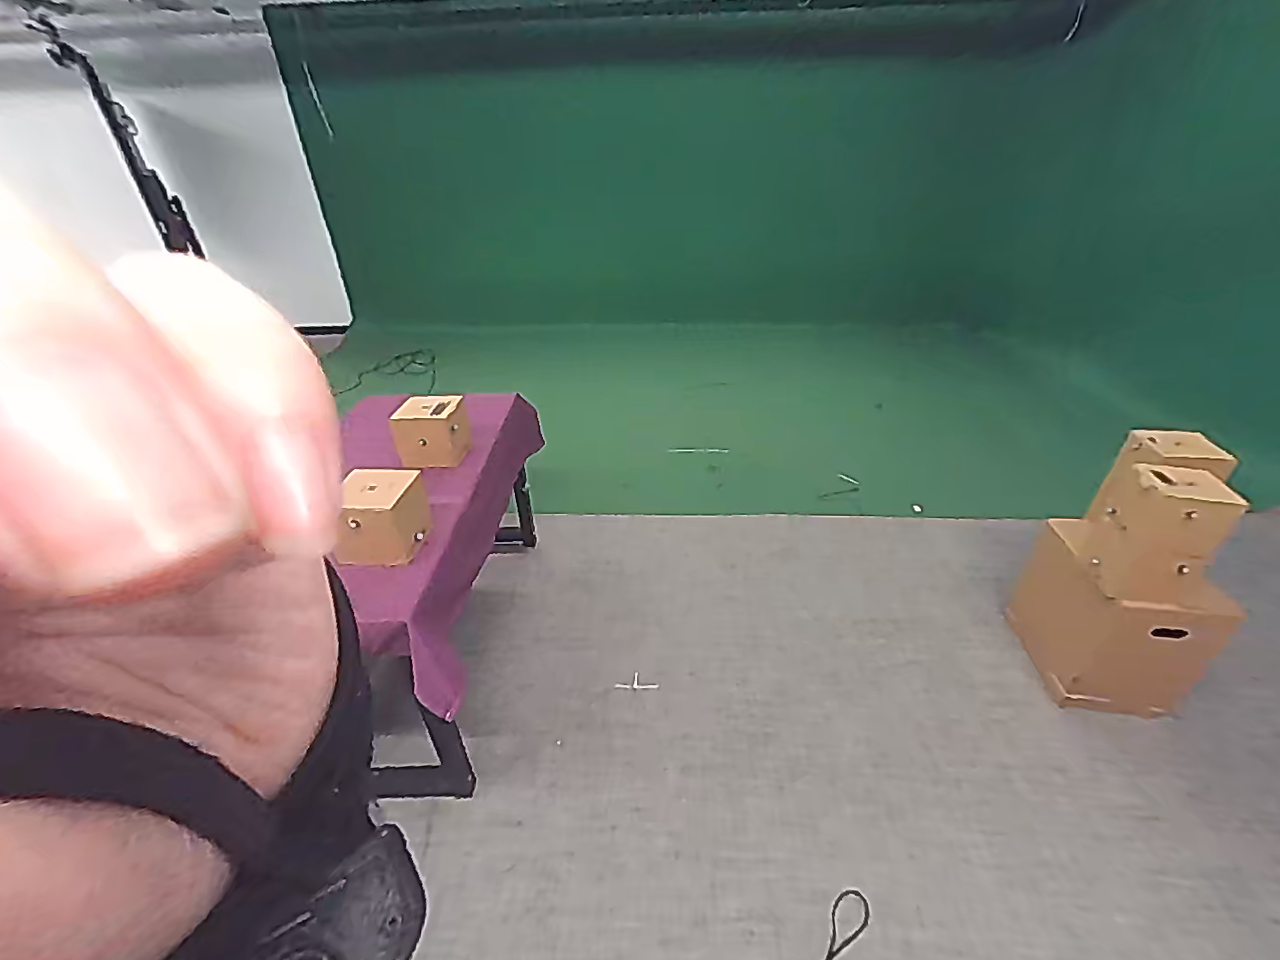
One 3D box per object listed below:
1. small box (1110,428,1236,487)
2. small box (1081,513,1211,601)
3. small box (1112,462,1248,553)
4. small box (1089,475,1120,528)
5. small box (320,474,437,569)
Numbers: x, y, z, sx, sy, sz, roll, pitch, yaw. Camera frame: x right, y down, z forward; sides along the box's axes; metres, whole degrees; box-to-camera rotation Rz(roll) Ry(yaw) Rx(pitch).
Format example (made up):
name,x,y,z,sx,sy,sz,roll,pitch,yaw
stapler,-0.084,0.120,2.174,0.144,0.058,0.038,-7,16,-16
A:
name,x,y,z,sx,sy,sz,roll,pitch,yaw
small box,1.537,-0.036,1.574,0.179,0.176,0.168,4,32,10
small box,1.384,0.213,1.495,0.179,0.176,0.168,5,32,9
small box,1.384,0.072,1.409,0.179,0.176,0.168,8,33,11
small box,1.546,0.101,1.665,0.168,0.176,0.179,3,32,7
small box,-0.620,0.100,1.304,0.179,0.176,0.168,1,32,5
